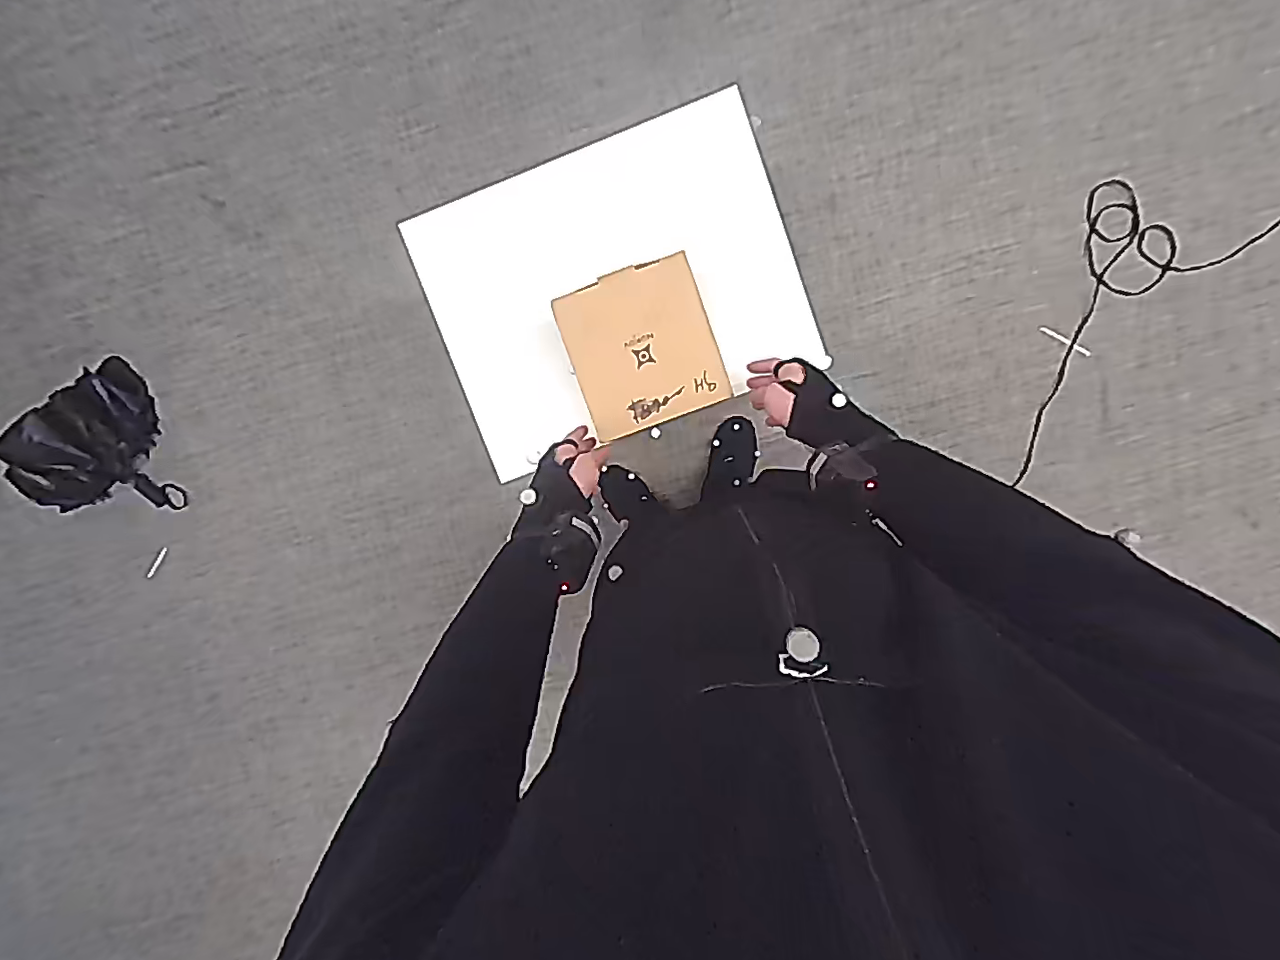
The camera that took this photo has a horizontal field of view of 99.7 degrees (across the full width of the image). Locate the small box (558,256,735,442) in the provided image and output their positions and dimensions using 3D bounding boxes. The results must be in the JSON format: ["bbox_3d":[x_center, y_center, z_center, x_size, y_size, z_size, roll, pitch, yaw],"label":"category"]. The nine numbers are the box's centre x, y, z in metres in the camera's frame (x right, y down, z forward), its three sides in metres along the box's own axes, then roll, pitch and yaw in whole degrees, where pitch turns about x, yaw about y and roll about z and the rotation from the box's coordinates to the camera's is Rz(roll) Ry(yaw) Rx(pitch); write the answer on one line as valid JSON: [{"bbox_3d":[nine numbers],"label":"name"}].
[{"bbox_3d":[0.010,-0.156,0.702,0.168,0.176,0.179,-19,95,4],"label":"small box"}]
